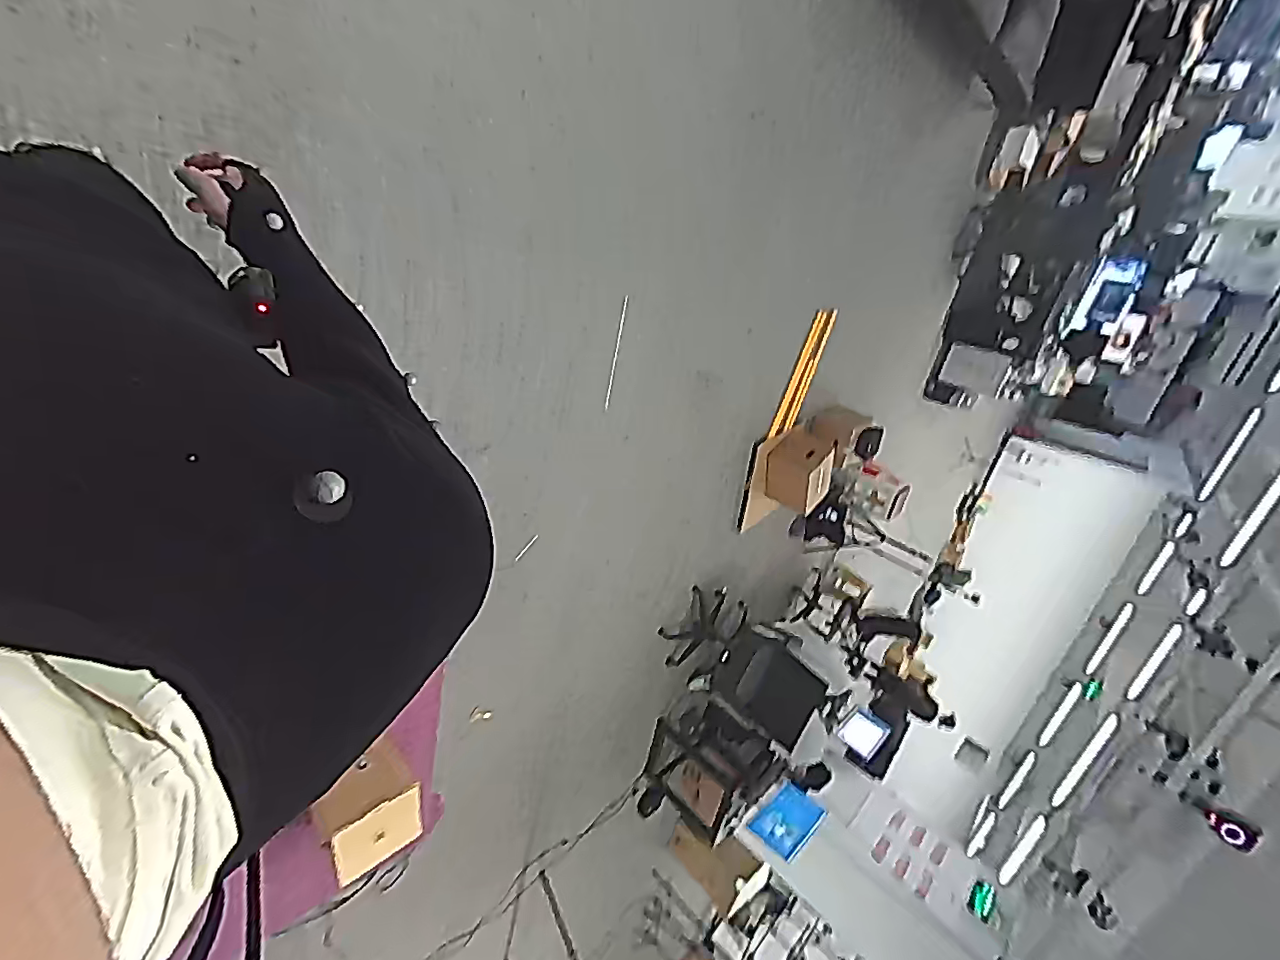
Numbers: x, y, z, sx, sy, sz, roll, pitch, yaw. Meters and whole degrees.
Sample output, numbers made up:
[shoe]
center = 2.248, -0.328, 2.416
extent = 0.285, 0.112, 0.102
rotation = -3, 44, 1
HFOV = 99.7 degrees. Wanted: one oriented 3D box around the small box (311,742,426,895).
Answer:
[small box]
center = -0.568, 0.700, 1.136
extent = 0.168, 0.176, 0.179
rotation = -18, 125, -42
